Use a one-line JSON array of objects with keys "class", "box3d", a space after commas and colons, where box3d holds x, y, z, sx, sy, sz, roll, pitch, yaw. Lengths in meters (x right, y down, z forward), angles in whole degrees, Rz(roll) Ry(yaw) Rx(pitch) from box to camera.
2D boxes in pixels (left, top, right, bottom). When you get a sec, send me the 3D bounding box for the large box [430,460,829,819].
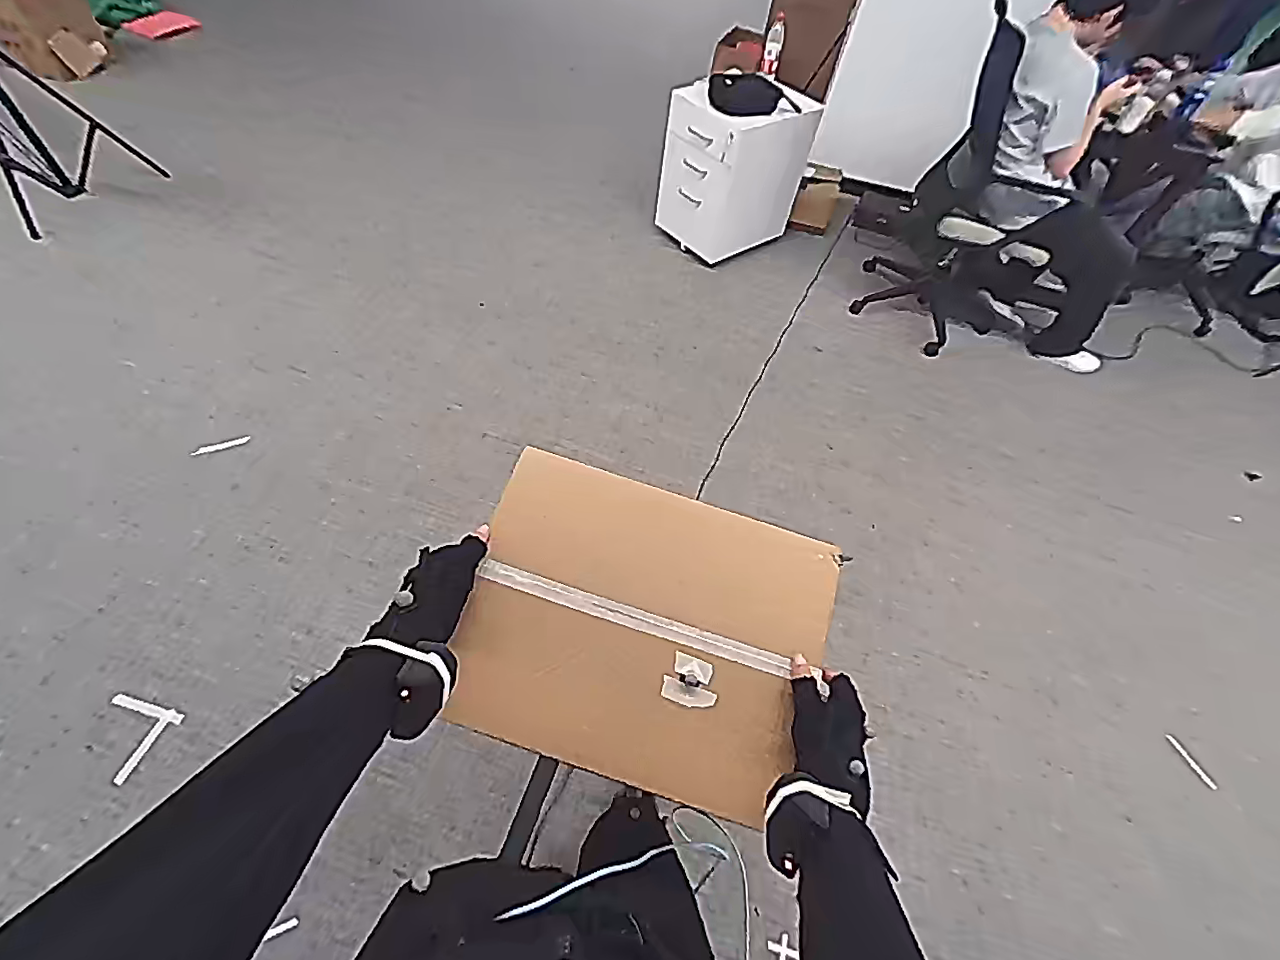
[{"class": "large box", "box3d": [-0.009, 0.219, 0.759, 0.408, 0.320, 0.320, 18, 68, 2]}]
